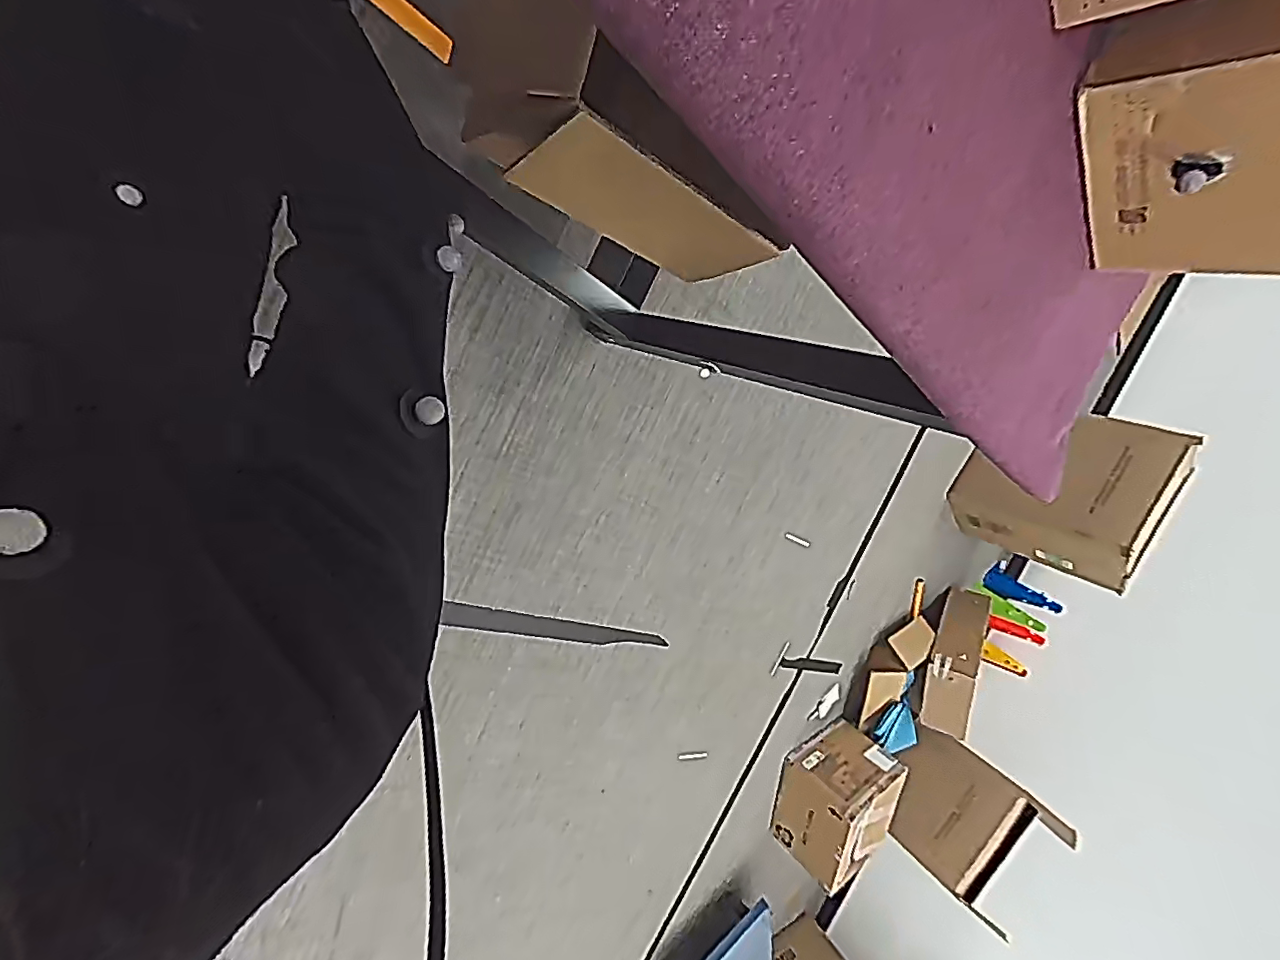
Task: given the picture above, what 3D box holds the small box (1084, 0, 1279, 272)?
[{"bbox_3d":[0.382,-0.237,0.295,0.168,0.176,0.179,28,90,-43],"label":"small box"}]
